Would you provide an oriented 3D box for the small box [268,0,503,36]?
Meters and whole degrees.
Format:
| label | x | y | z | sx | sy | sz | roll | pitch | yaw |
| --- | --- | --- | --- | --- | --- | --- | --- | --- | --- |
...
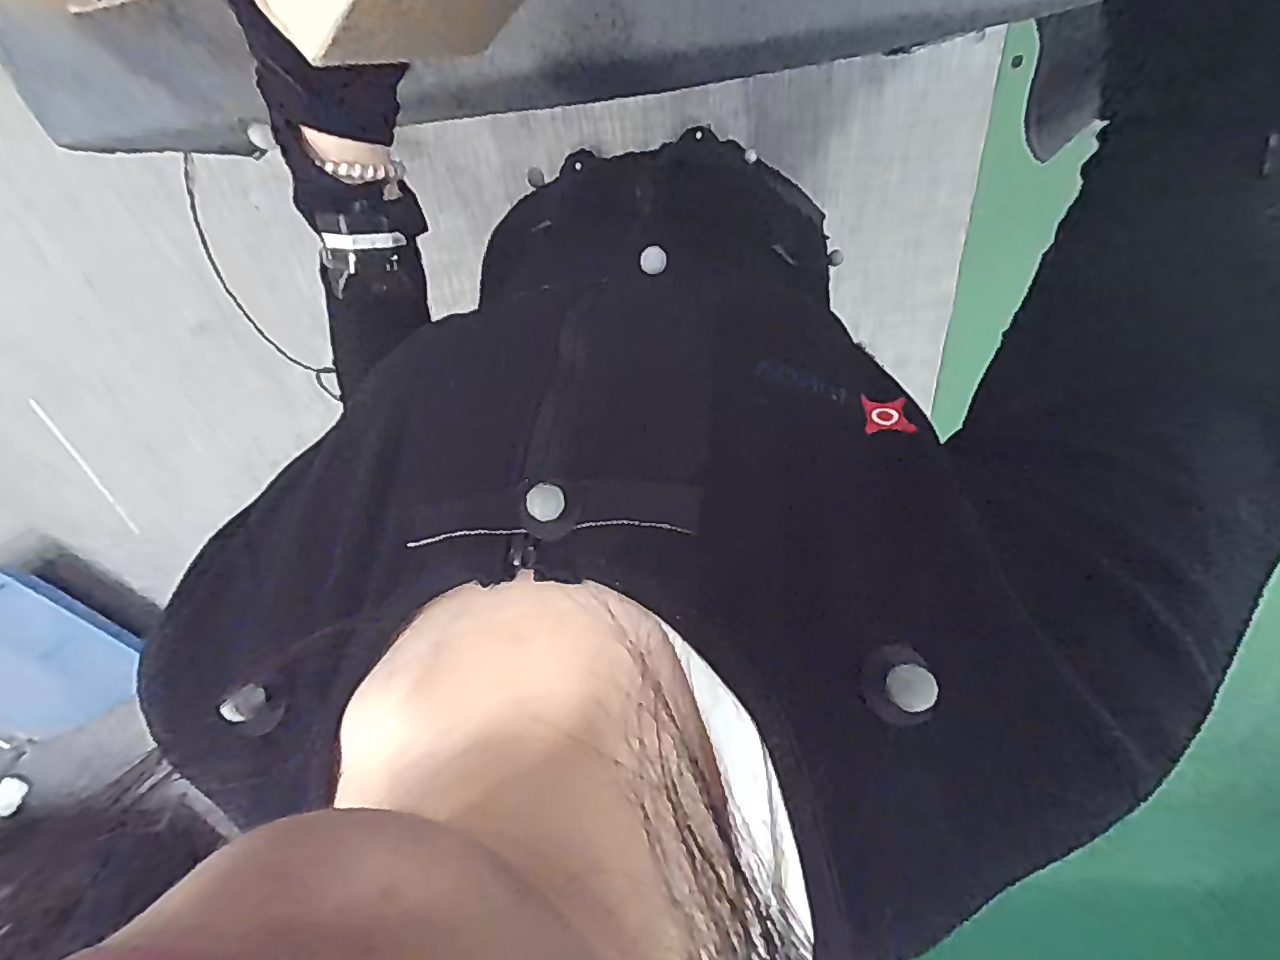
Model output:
| label | x | y | z | sx | sy | sz | roll | pitch | yaw |
| --- | --- | --- | --- | --- | --- | --- | --- | --- | --- |
| small box | -0.108 | -0.328 | 0.222 | 0.179 | 0.176 | 0.168 | -23 | 119 | 30 |
